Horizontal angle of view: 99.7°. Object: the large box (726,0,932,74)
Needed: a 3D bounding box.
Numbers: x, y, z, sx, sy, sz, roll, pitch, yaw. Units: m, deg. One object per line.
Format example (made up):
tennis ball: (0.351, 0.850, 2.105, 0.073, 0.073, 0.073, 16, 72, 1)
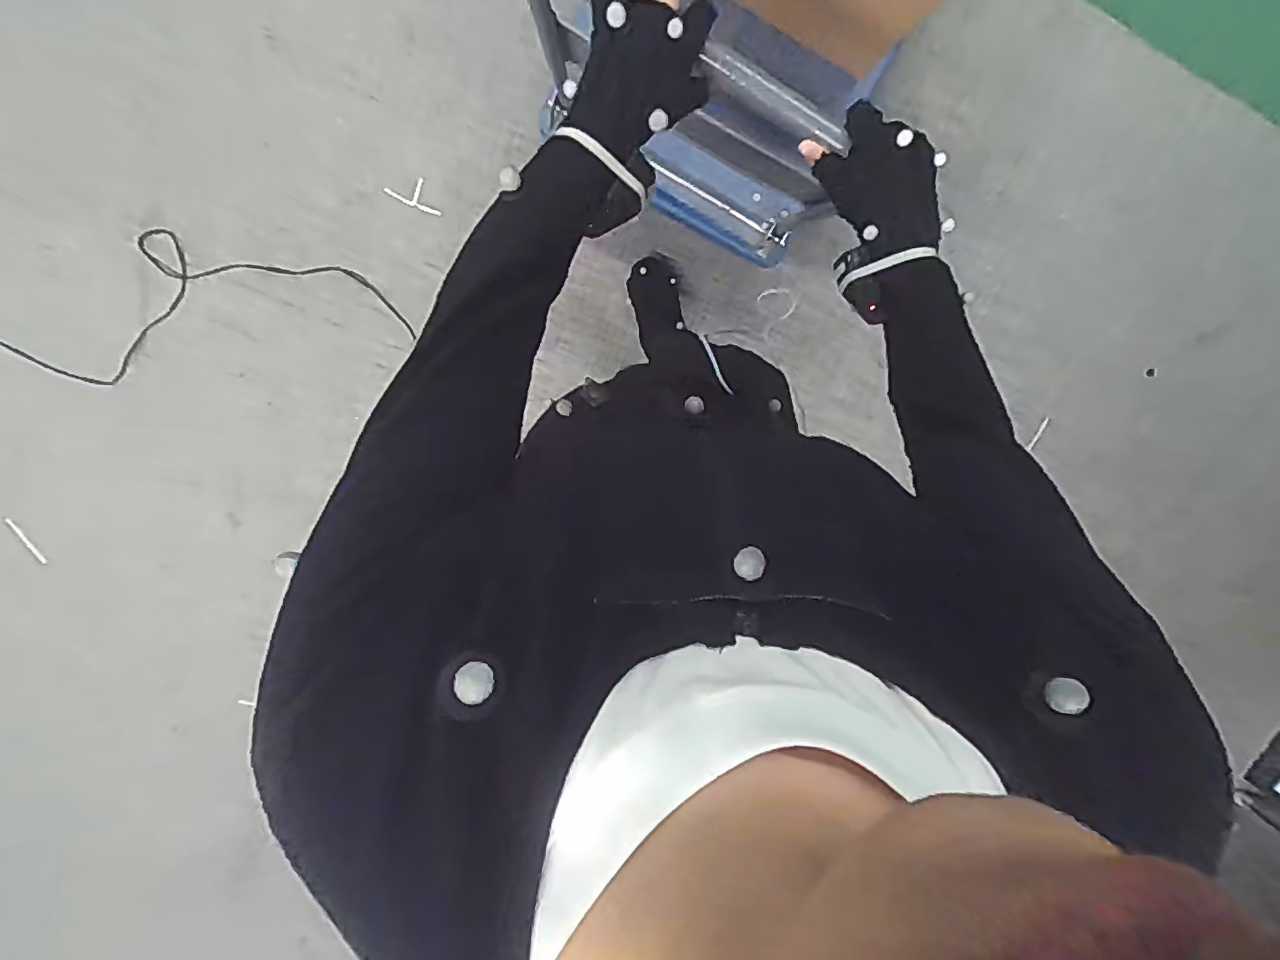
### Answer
large box: (0.324, -0.969, 0.874, 0.408, 0.320, 0.320, 25, 104, -8)
